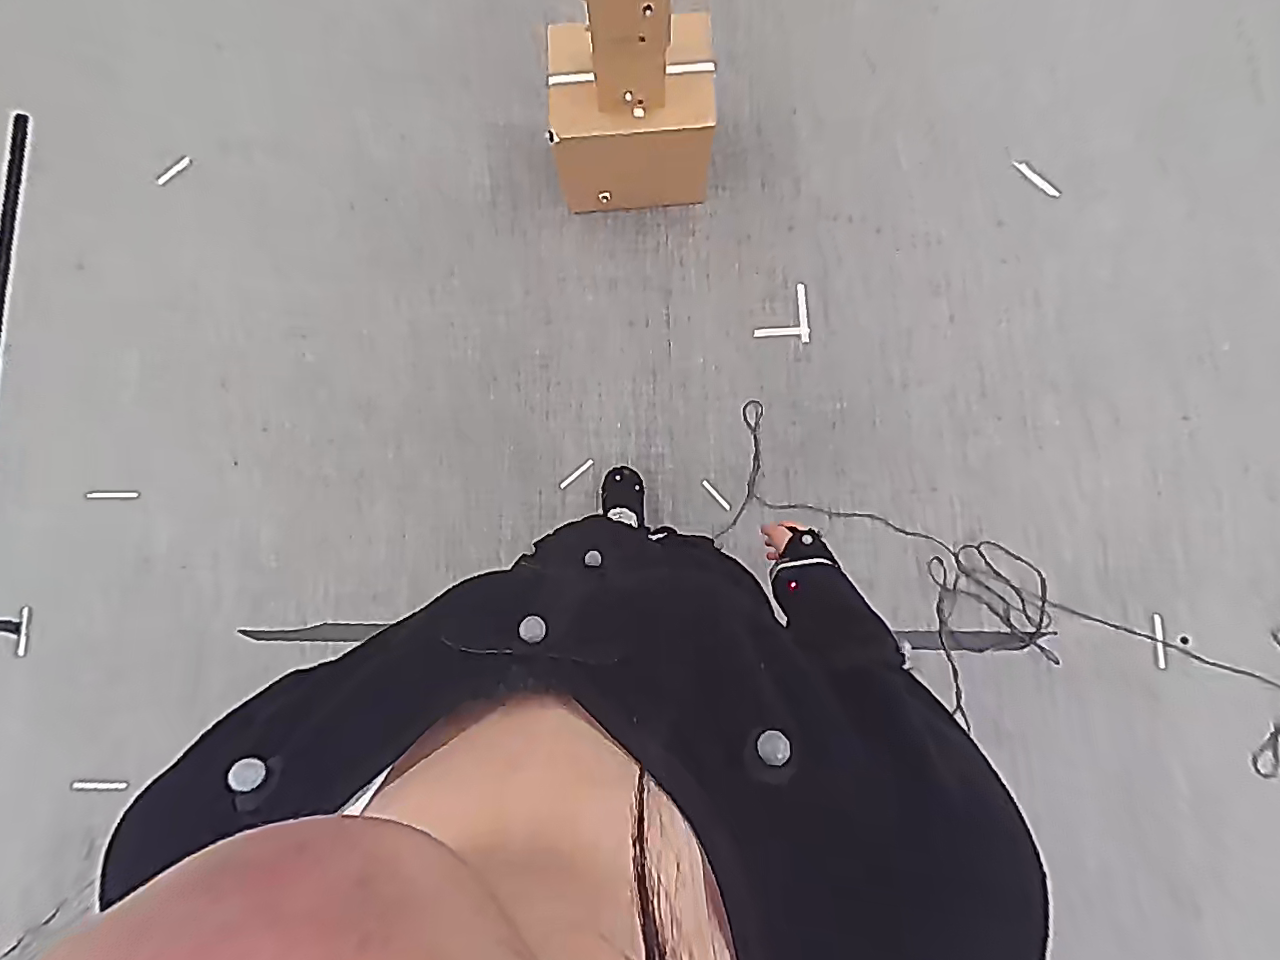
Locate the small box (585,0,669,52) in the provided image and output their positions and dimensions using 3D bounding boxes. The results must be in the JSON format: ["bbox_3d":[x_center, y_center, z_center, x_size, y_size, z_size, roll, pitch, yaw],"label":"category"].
[{"bbox_3d":[-0.029,-1.002,1.083,0.168,0.176,0.179,-5,83,0],"label":"small box"}]

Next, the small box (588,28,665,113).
[{"bbox_3d":[-0.030,-0.990,1.245,0.168,0.176,0.179,-3,85,1],"label":"small box"}]
